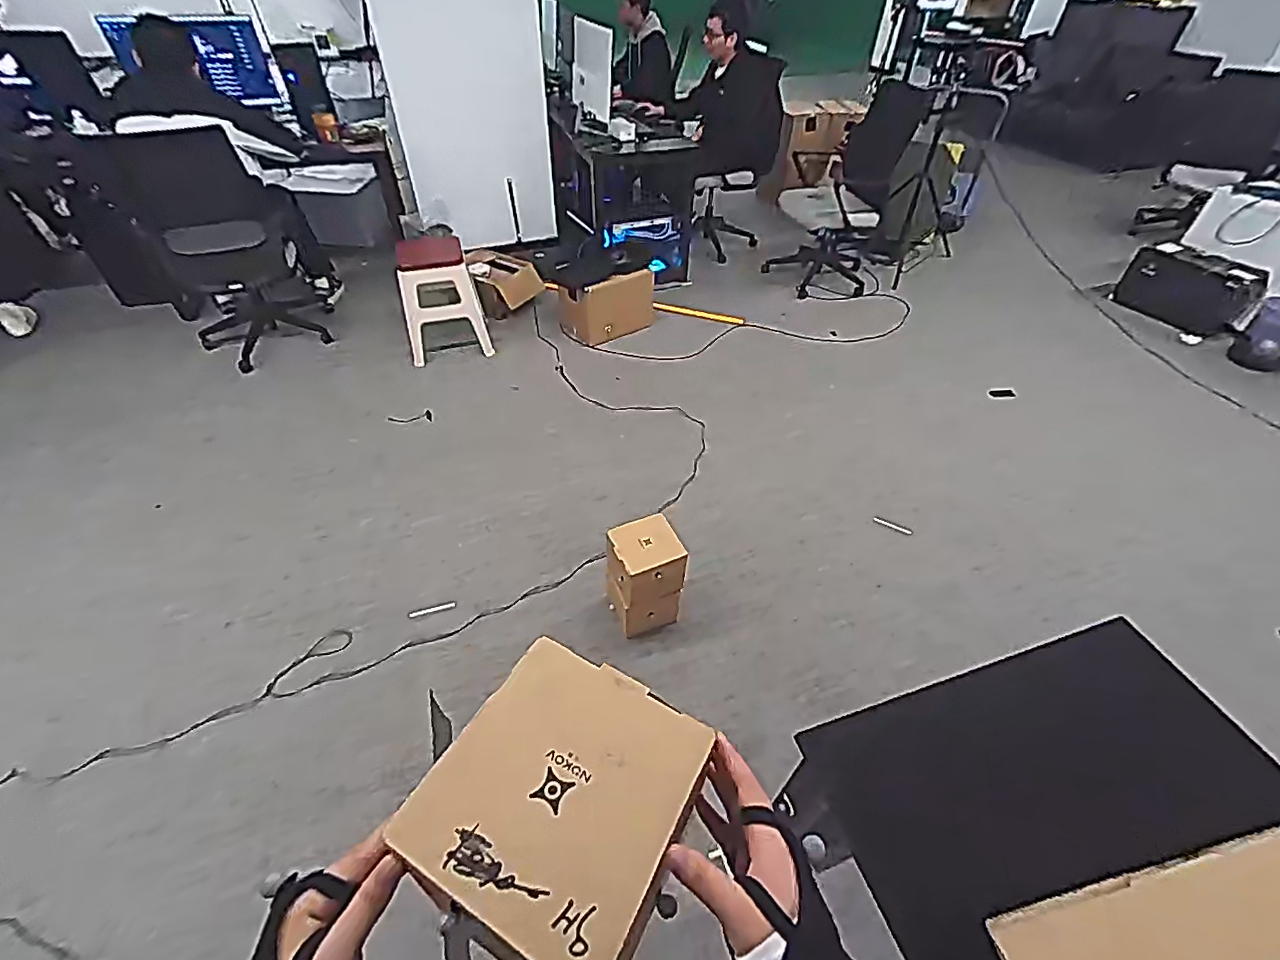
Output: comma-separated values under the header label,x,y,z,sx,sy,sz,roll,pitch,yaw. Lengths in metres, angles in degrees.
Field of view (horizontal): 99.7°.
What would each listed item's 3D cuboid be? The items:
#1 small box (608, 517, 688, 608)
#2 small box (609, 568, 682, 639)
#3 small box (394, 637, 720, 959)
label,x,y,z,sx,sy,sz,roll,pitch,yaw
small box,0.019,0.238,1.542,0.179,0.176,0.168,-17,49,-19
small box,0.012,0.356,1.654,0.179,0.176,0.168,-16,47,-16
small box,-0.054,0.269,0.429,0.168,0.176,0.179,20,43,22
